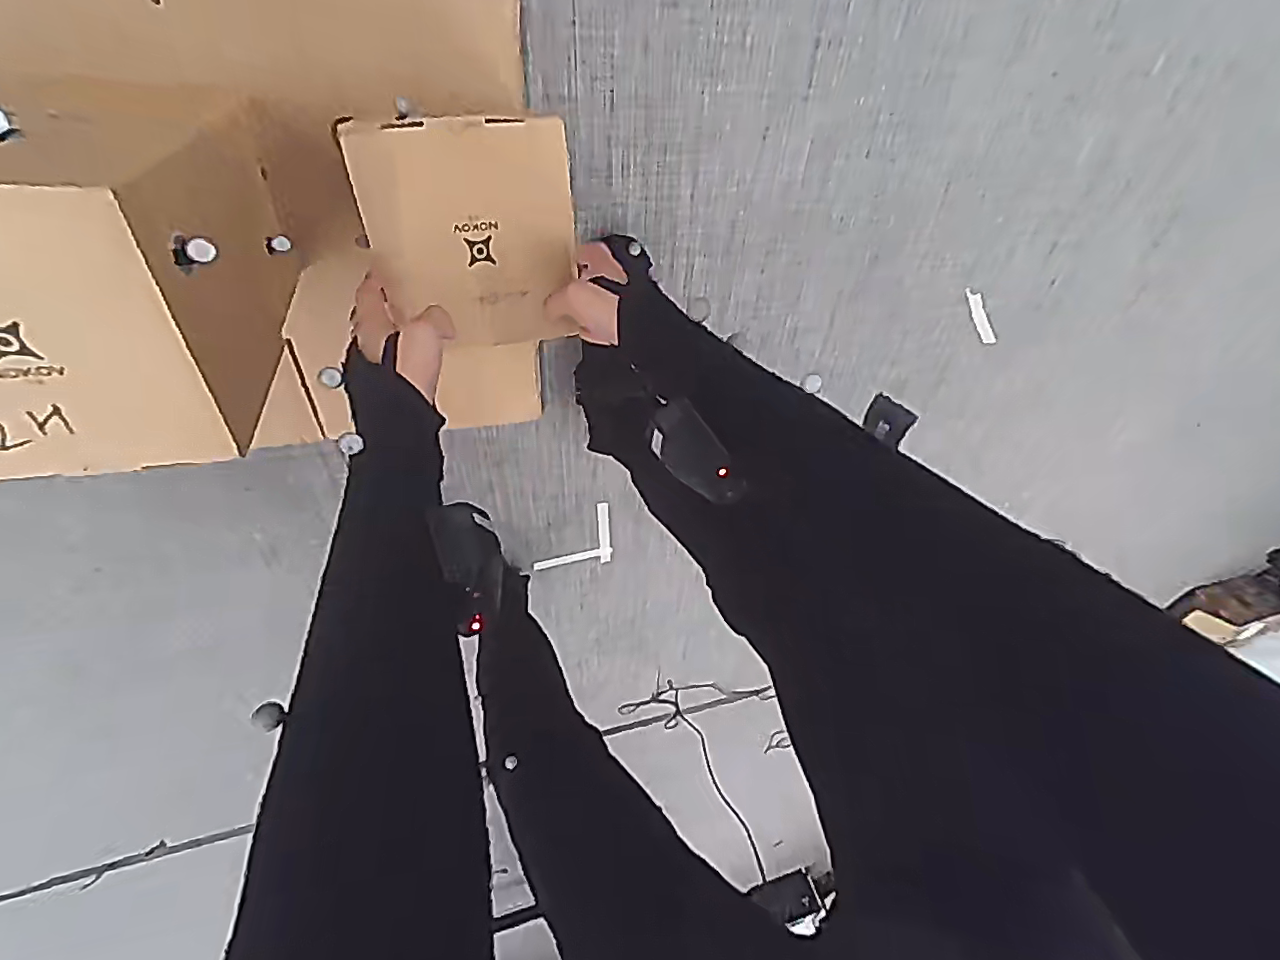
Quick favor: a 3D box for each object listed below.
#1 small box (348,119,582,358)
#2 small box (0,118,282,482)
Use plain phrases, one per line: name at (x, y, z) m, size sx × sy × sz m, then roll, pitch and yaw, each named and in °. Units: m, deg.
small box at (-0.160, -0.236, 0.516) m, size 0.168 × 0.176 × 0.179 m, roll -11°, pitch 126°, yaw -15°
small box at (-0.364, -0.122, 0.355) m, size 0.168 × 0.176 × 0.179 m, roll -7°, pitch 134°, yaw -17°
